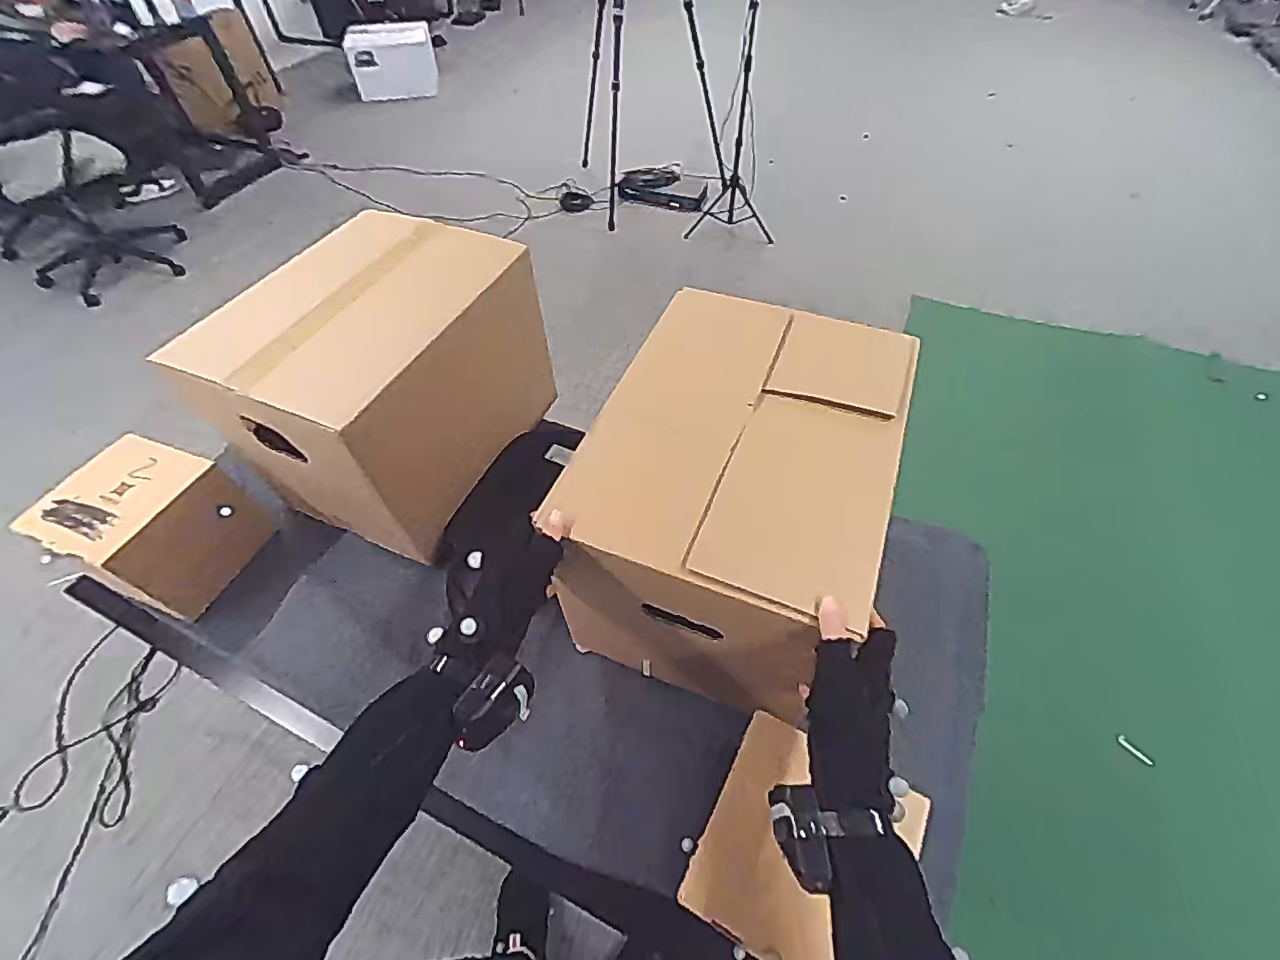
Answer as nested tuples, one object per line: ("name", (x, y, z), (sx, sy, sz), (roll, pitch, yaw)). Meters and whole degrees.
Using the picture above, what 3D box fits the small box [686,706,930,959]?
("small box", (0.152, 0.361, 0.532), (0.168, 0.176, 0.179), (23, 59, 20))
